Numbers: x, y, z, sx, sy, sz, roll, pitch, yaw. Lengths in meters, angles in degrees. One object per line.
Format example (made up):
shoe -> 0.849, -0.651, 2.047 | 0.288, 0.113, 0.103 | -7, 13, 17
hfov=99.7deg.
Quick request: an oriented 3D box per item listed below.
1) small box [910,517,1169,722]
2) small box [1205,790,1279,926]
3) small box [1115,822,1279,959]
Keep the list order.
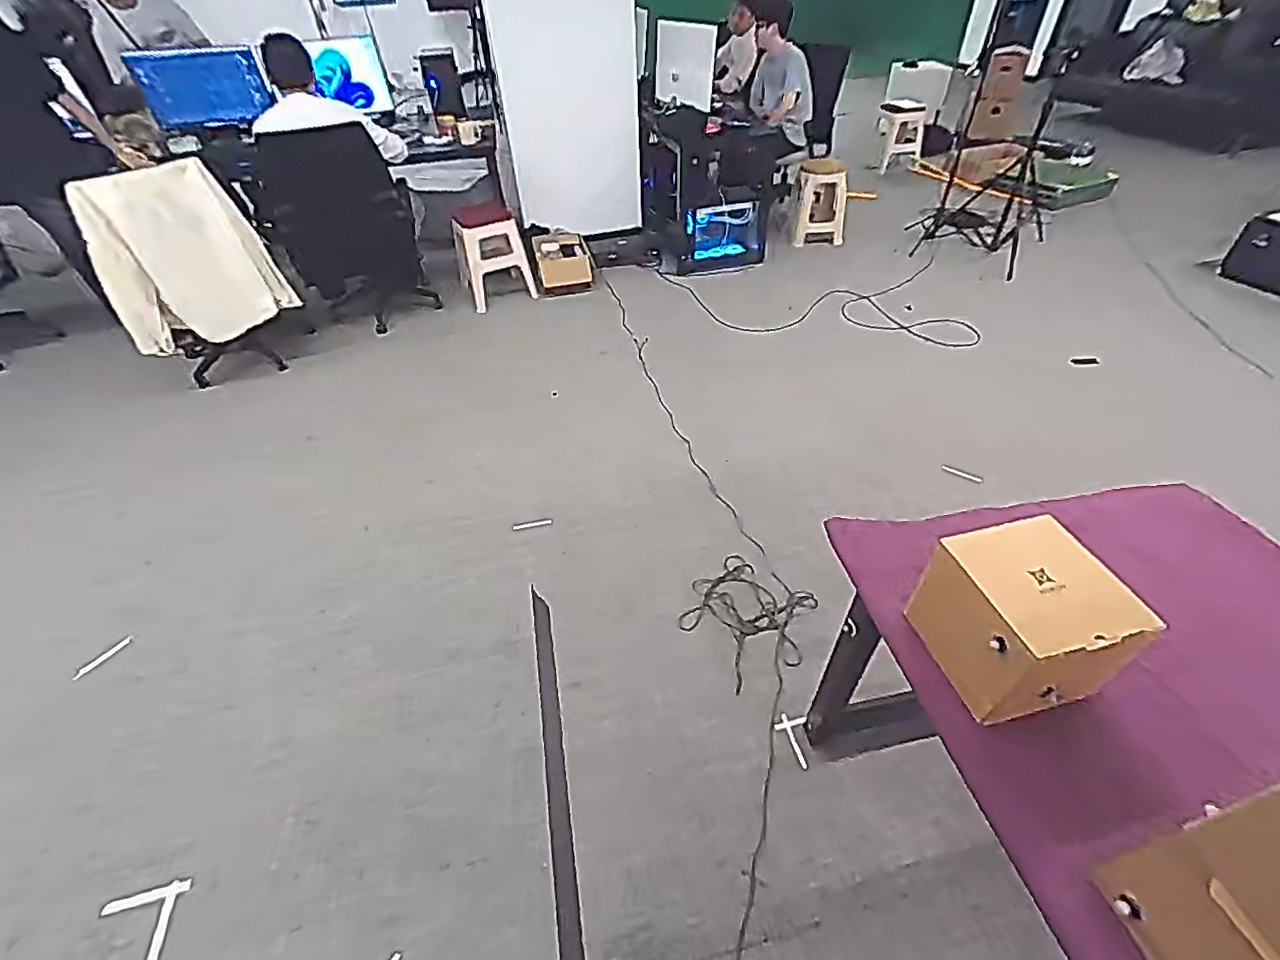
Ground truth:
small box -> 0.486, 0.178, 0.696 | 0.168, 0.176, 0.179 | -11, 45, -8
small box -> 0.554, 0.279, 0.348 | 0.168, 0.176, 0.179 | -10, 45, -6
small box -> 0.573, 0.392, 0.467 | 0.179, 0.176, 0.168 | -11, 45, -9
